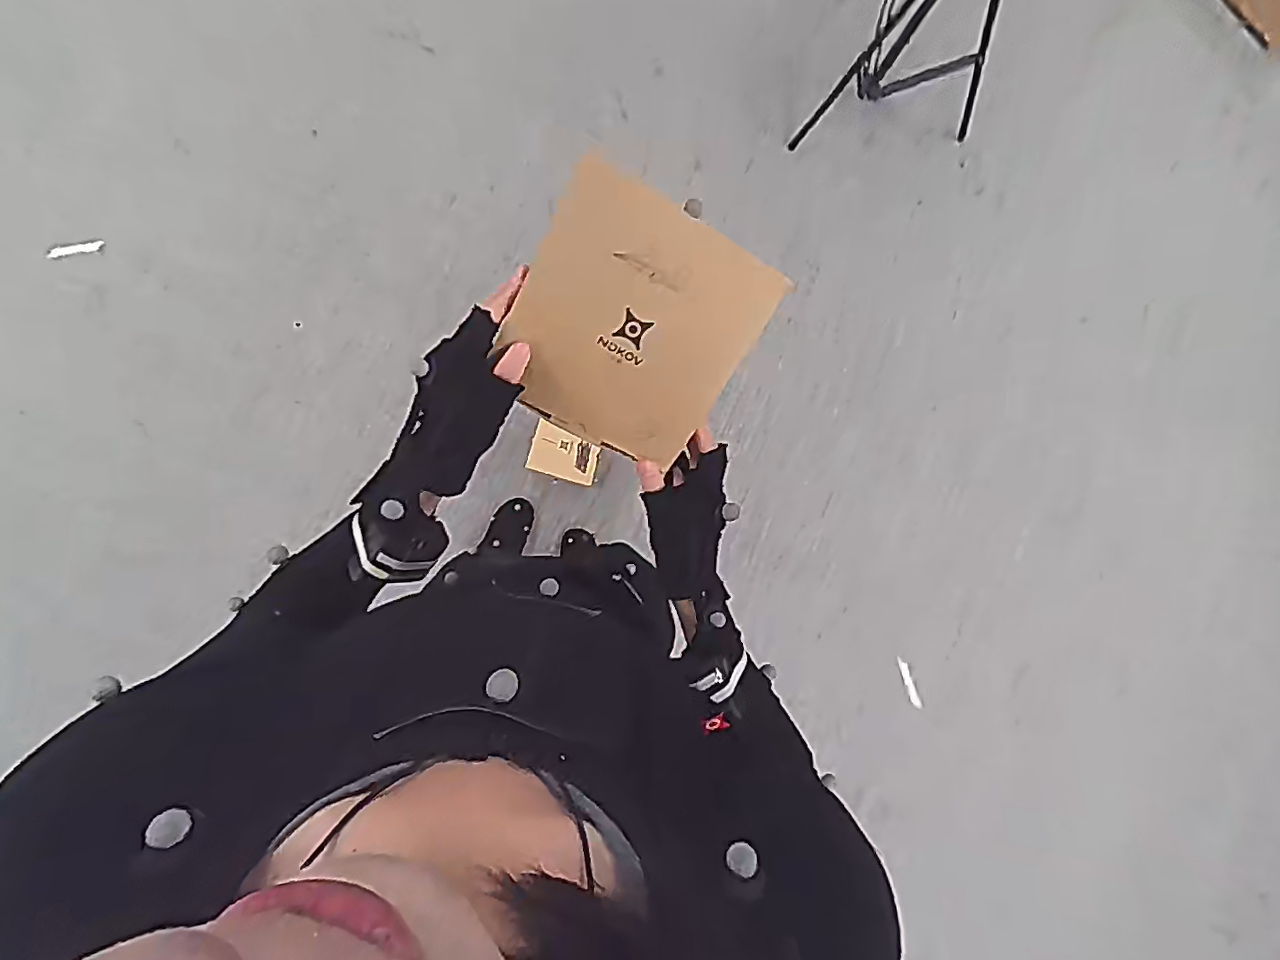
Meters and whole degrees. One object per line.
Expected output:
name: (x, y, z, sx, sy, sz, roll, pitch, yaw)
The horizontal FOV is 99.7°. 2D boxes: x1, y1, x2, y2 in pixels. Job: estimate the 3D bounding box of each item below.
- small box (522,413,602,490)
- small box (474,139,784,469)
small box: (-0.202, -0.074, 1.454, 0.179, 0.176, 0.168, 17, 84, -4)
small box: (-0.014, -0.145, 0.452, 0.168, 0.176, 0.179, 25, 114, -17)
